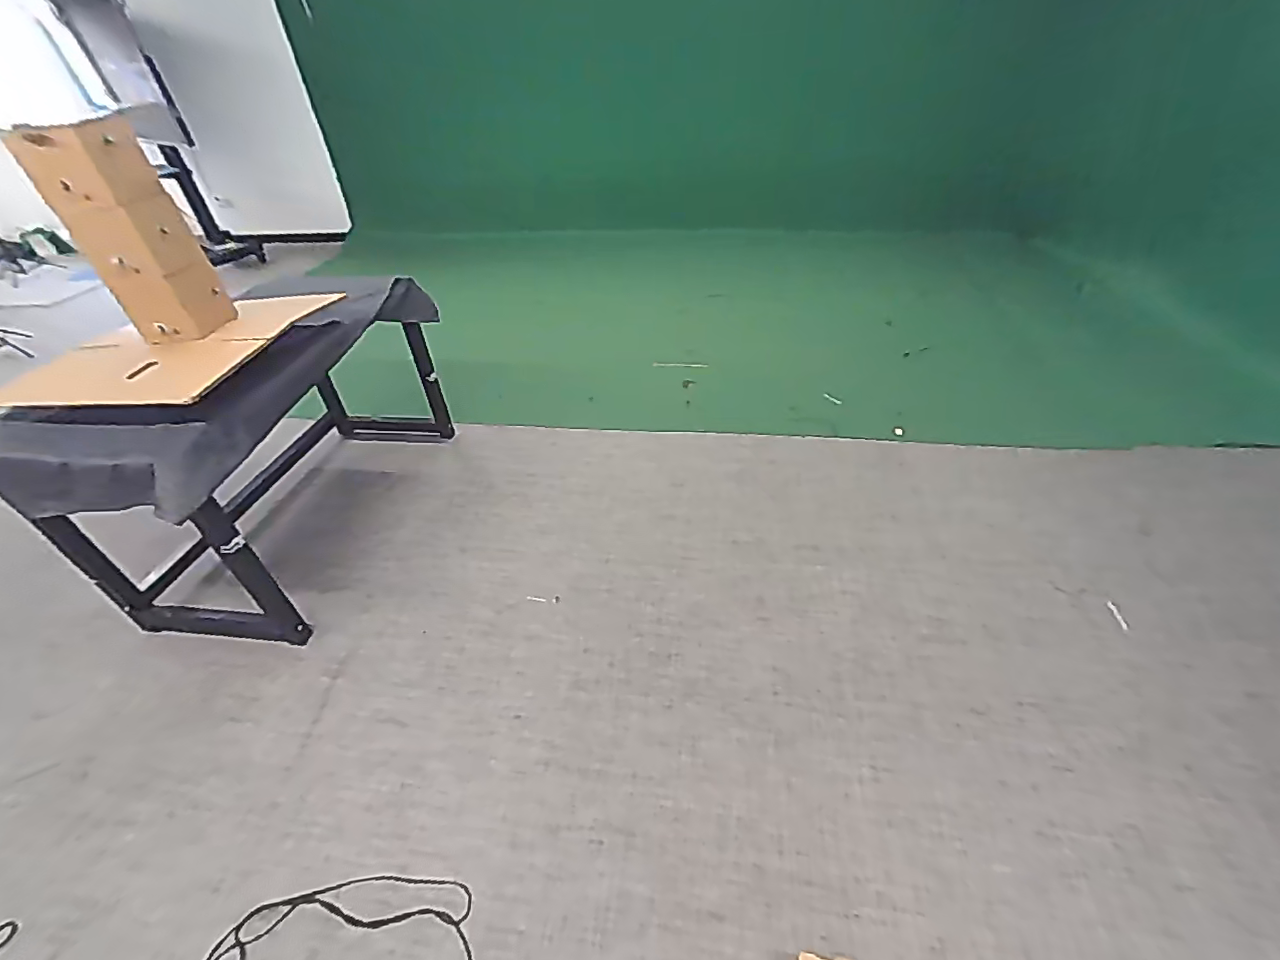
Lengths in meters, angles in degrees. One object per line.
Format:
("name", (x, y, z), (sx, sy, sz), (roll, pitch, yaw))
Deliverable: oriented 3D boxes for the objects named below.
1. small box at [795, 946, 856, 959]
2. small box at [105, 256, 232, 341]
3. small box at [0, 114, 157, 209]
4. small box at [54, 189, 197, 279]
("small box", (0.340, 0.940, 0.918), (0.168, 0.176, 0.179), (5, 39, 10))
("small box", (-1.271, -0.497, 1.478), (0.168, 0.176, 0.179), (-6, 38, 3))
("small box", (-1.312, -0.755, 1.282), (0.168, 0.176, 0.179), (-7, 38, 2))
("small box", (-1.290, -0.626, 1.379), (0.168, 0.176, 0.179), (-6, 38, 2))
